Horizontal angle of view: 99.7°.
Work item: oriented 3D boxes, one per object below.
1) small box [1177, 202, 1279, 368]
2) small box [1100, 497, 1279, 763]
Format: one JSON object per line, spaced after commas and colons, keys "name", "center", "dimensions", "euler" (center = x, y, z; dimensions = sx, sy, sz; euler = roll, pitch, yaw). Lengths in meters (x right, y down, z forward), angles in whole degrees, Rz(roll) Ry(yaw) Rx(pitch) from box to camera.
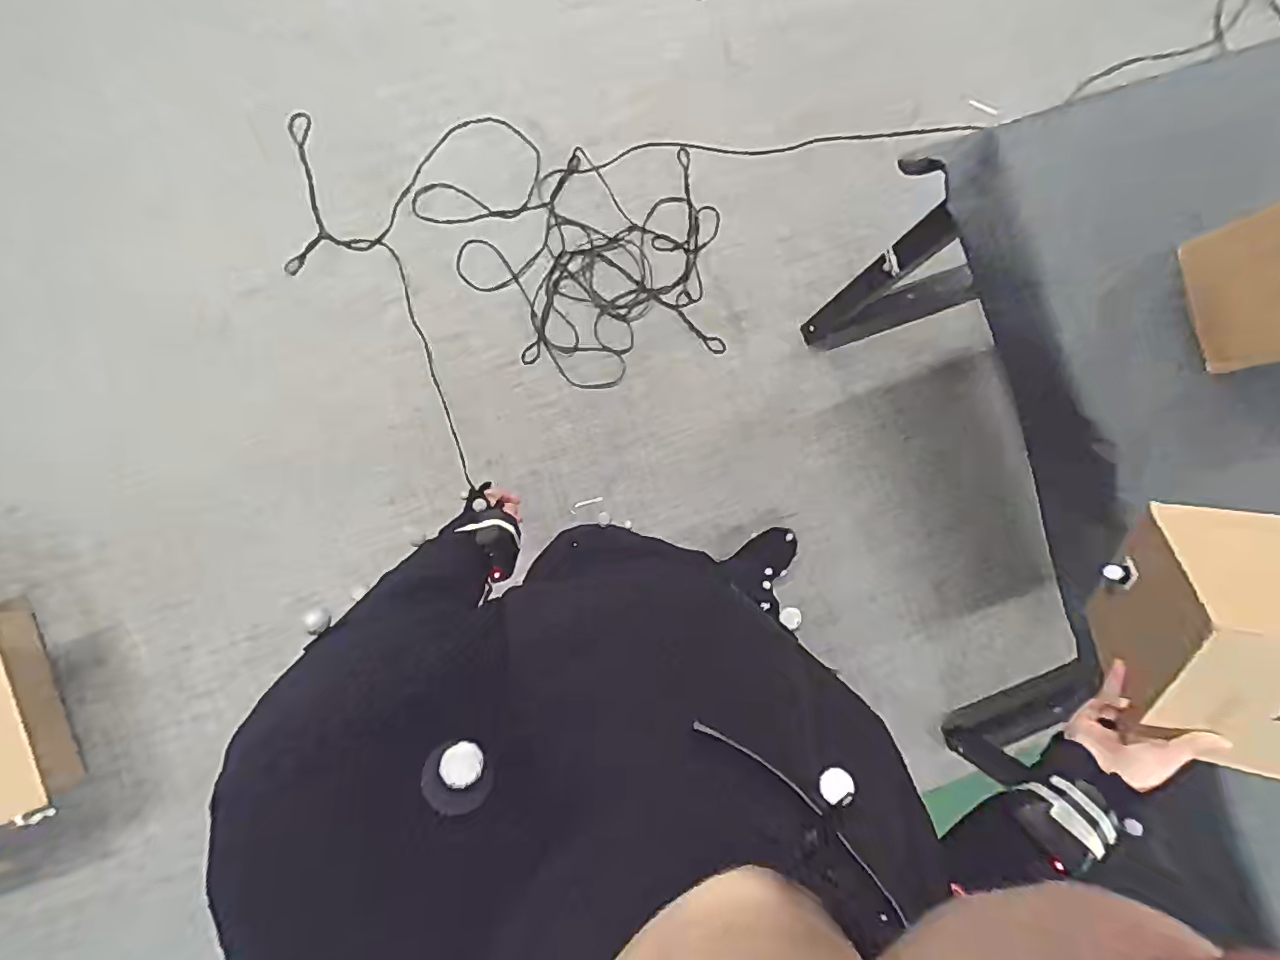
{"name": "small box", "center": [0.807, -0.241, 0.638], "dimensions": [0.168, 0.176, 0.179], "euler": [-12, 88, -6]}
{"name": "small box", "center": [0.567, 0.132, 0.486], "dimensions": [0.179, 0.176, 0.168], "euler": [7, 126, 21]}
